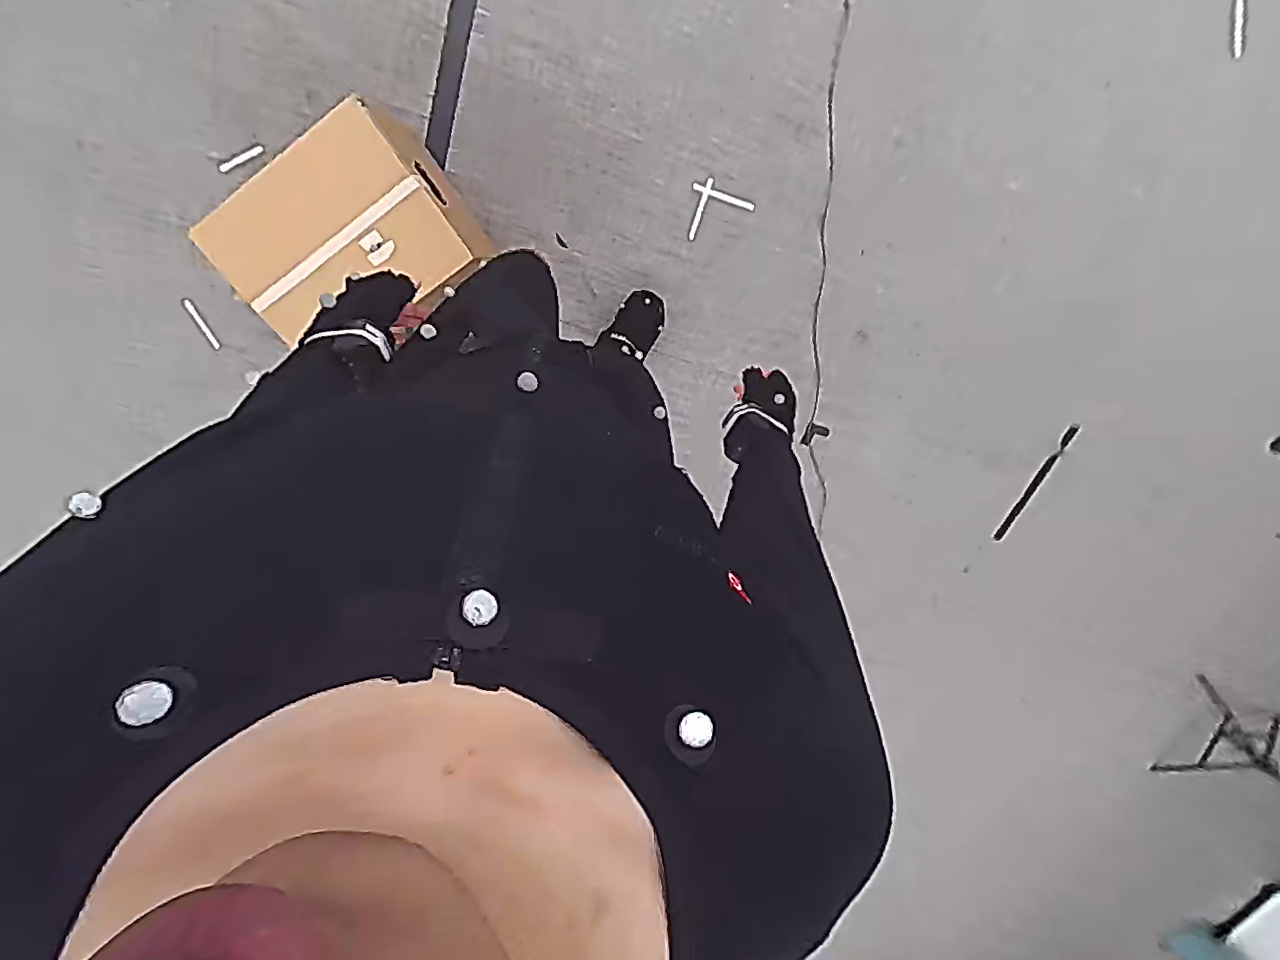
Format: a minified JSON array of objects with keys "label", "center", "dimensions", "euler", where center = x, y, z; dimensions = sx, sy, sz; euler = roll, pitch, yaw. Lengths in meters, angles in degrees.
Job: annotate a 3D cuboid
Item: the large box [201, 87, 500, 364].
[{"label":"large box","center":[-0.567,-0.506,1.139],"dimensions":[0.408,0.320,0.320],"euler":[-32,113,9]}]
